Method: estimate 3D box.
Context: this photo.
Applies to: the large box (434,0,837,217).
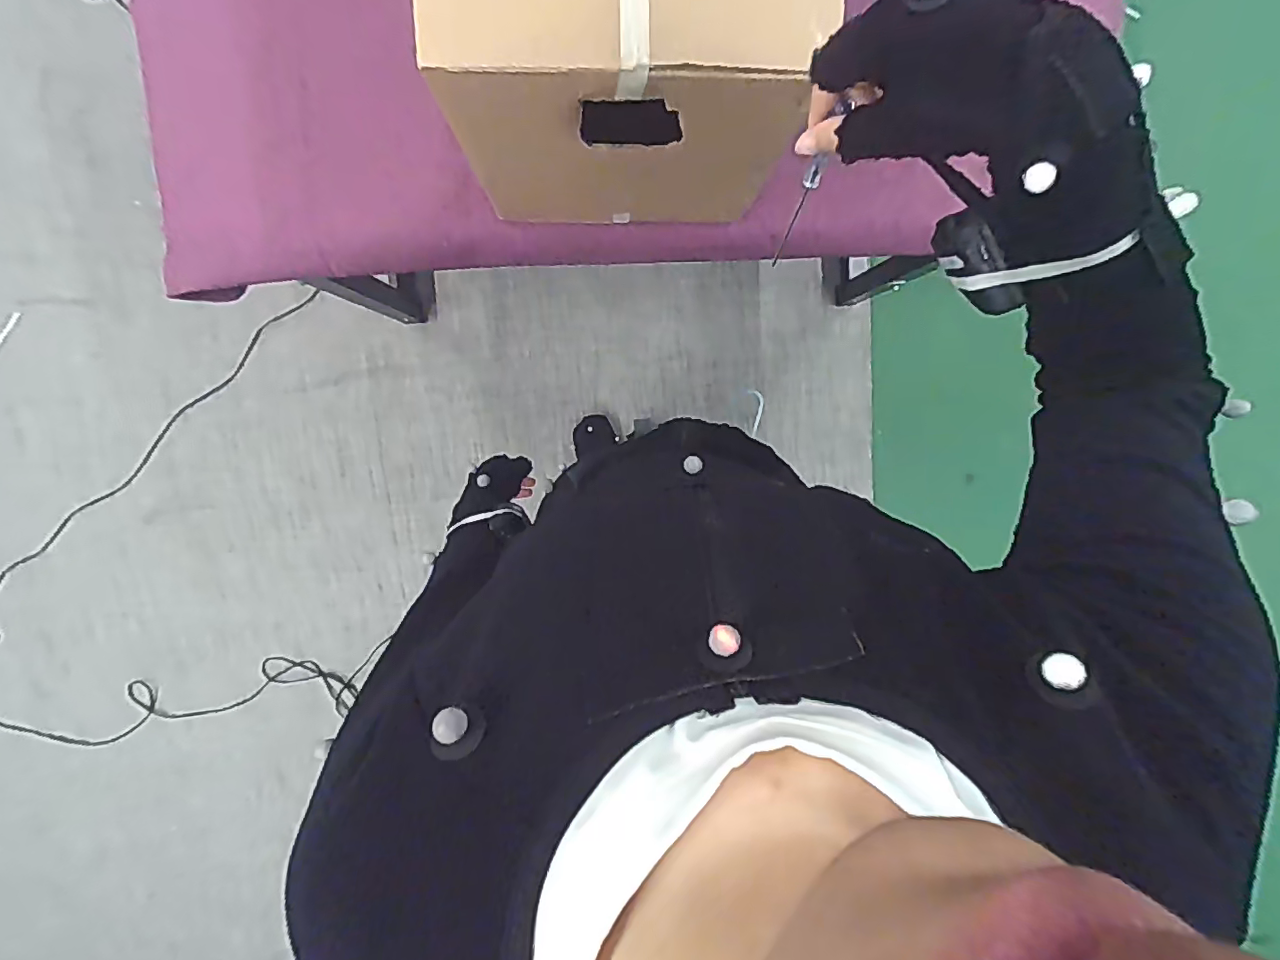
[{"bbox_3d":[-0.015,-0.523,0.534,0.320,0.320,0.408,-1,98,-3],"label":"large box"}]
